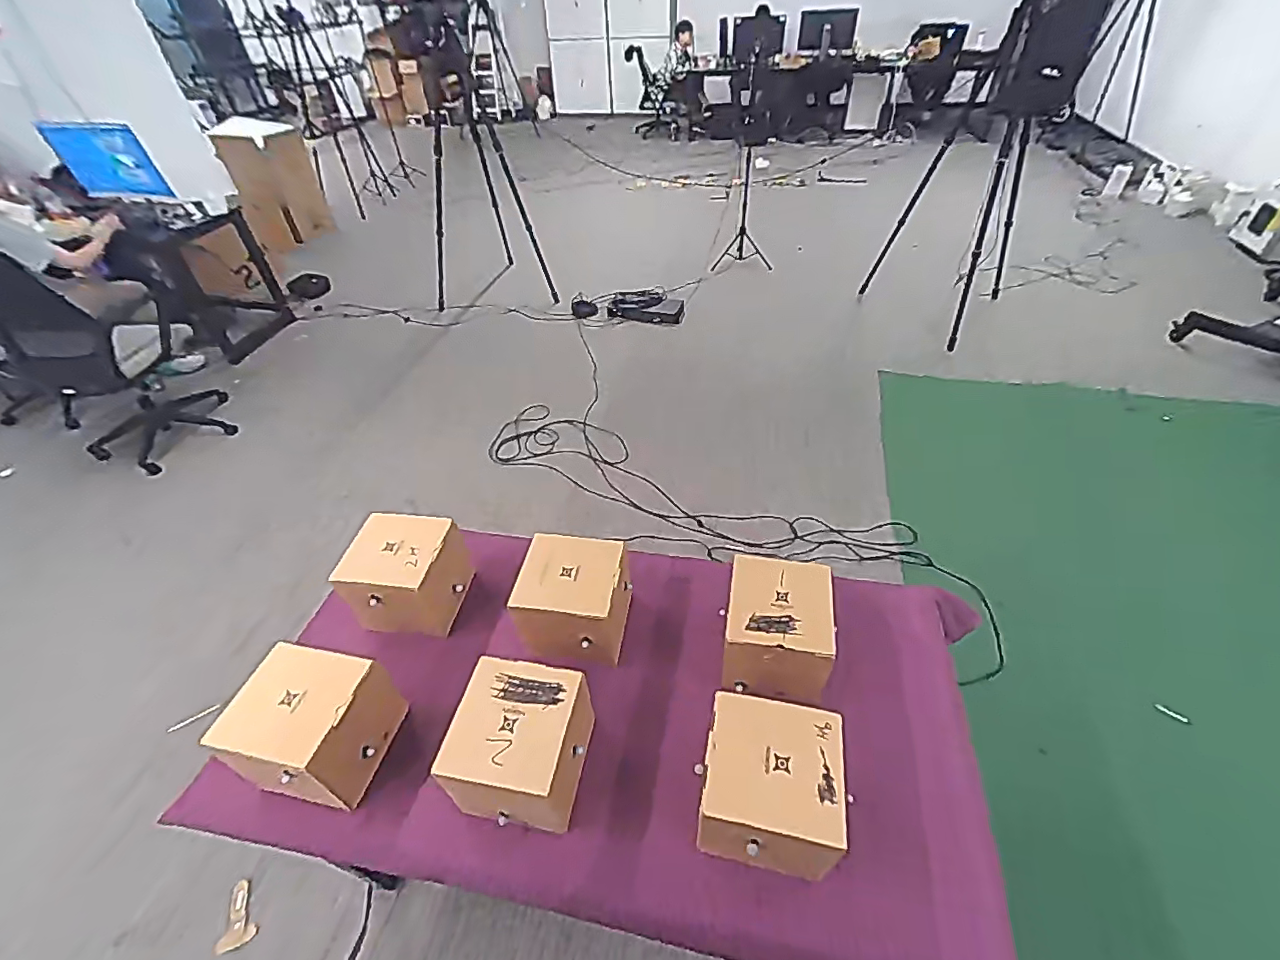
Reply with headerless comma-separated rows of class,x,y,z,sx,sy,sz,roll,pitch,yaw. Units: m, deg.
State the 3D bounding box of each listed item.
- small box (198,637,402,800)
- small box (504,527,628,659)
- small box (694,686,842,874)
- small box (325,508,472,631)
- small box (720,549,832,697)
small box,-0.512,0.373,0.844,0.179,0.176,0.168,7,43,10
small box,-0.122,0.210,0.991,0.179,0.176,0.168,4,44,10
small box,0.174,0.416,0.750,0.179,0.176,0.168,7,44,12
small box,-0.454,0.174,1.048,0.179,0.176,0.168,4,45,8
small box,0.229,0.245,0.926,0.168,0.176,0.179,6,44,11
